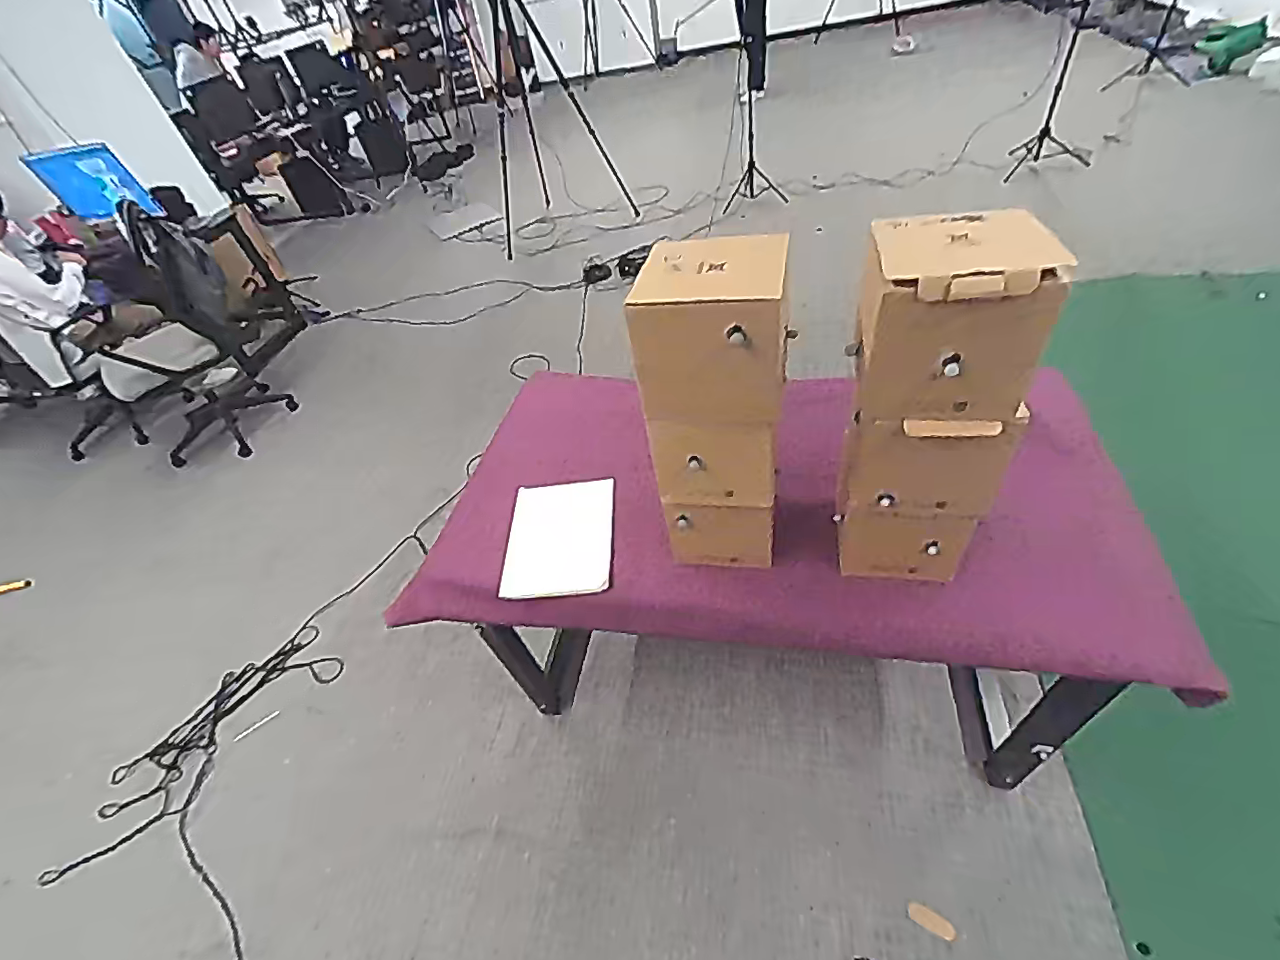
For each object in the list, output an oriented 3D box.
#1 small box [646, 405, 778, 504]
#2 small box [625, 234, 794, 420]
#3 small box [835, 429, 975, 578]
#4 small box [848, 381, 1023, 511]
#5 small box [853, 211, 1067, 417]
[{"bbox_3d":[0.118,-0.080,0.810,0.168,0.176,0.179,2,46,15],"label":"small box"},{"bbox_3d":[0.098,-0.191,0.688,0.179,0.176,0.168,4,46,17],"label":"small box"},{"bbox_3d":[0.408,0.037,0.861,0.168,0.176,0.179,3,46,15],"label":"small box"},{"bbox_3d":[0.385,-0.073,0.742,0.168,0.176,0.179,2,46,13],"label":"small box"},{"bbox_3d":[0.348,-0.188,0.630,0.168,0.176,0.179,4,48,14],"label":"small box"}]
